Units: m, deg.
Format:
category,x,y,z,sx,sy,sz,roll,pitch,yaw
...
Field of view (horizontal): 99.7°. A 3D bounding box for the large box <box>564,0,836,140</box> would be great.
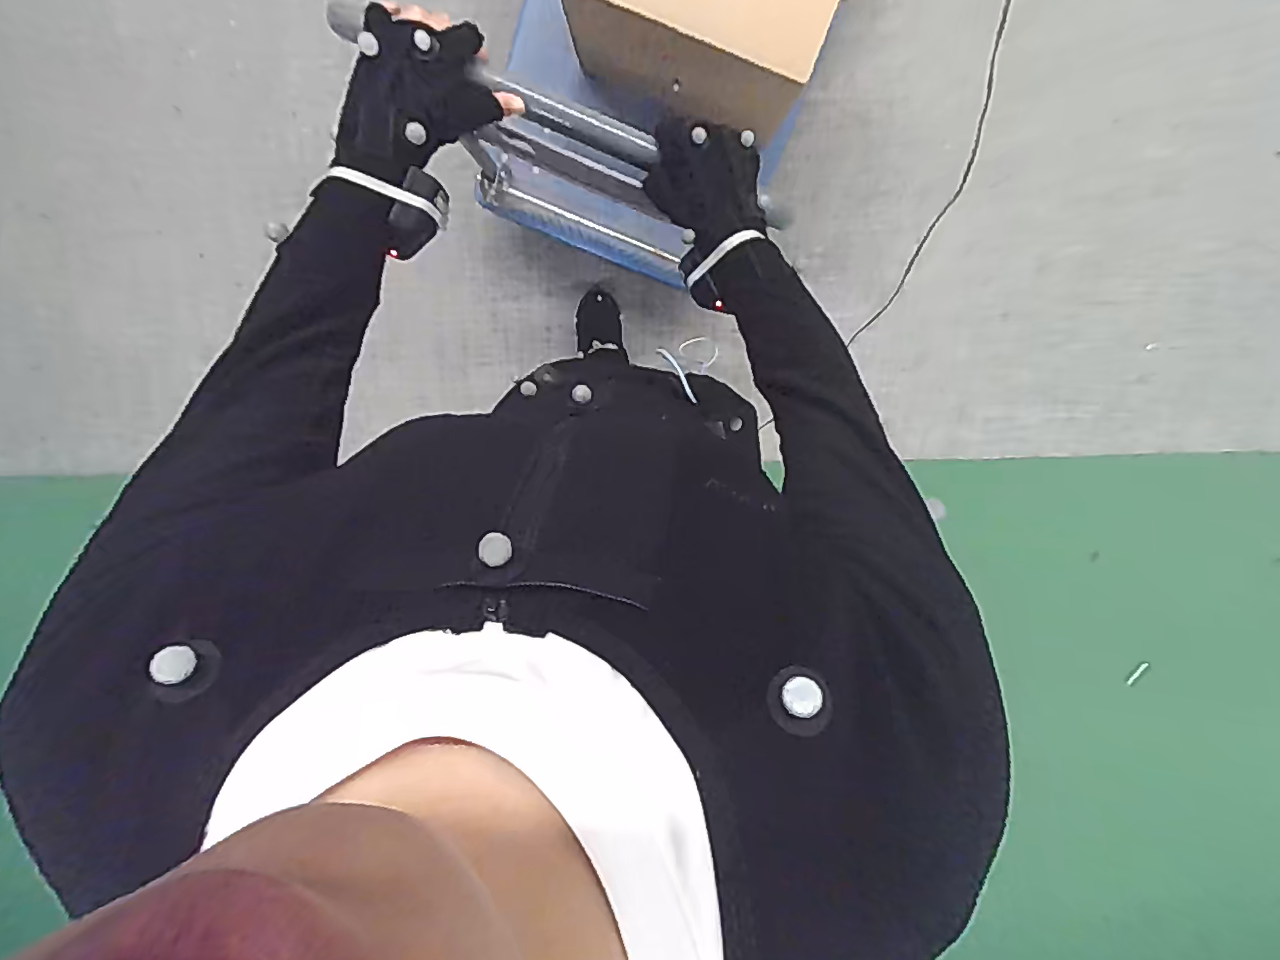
category,x,y,z,sx,sy,sz,roll,pitch,yaw
large box,0.122,-0.850,0.918,0.408,0.320,0.320,20,105,-3
